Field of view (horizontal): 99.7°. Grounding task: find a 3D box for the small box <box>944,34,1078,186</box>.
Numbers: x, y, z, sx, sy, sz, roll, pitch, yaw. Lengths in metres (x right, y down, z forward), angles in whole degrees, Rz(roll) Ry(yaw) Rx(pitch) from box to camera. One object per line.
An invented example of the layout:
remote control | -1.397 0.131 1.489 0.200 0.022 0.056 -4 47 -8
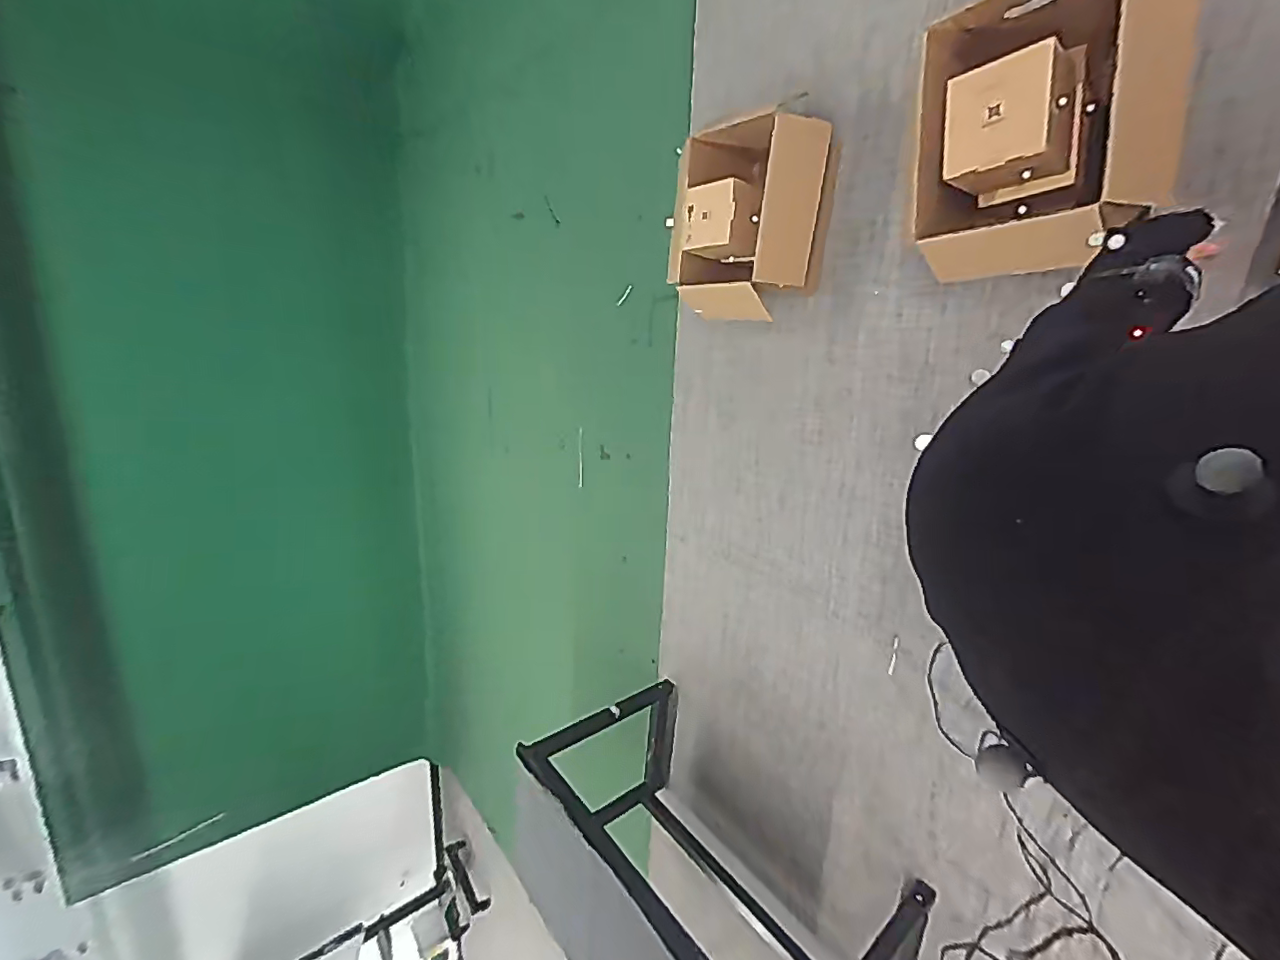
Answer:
small box | 0.693 -0.670 1.011 0.168 0.176 0.179 9 105 49
